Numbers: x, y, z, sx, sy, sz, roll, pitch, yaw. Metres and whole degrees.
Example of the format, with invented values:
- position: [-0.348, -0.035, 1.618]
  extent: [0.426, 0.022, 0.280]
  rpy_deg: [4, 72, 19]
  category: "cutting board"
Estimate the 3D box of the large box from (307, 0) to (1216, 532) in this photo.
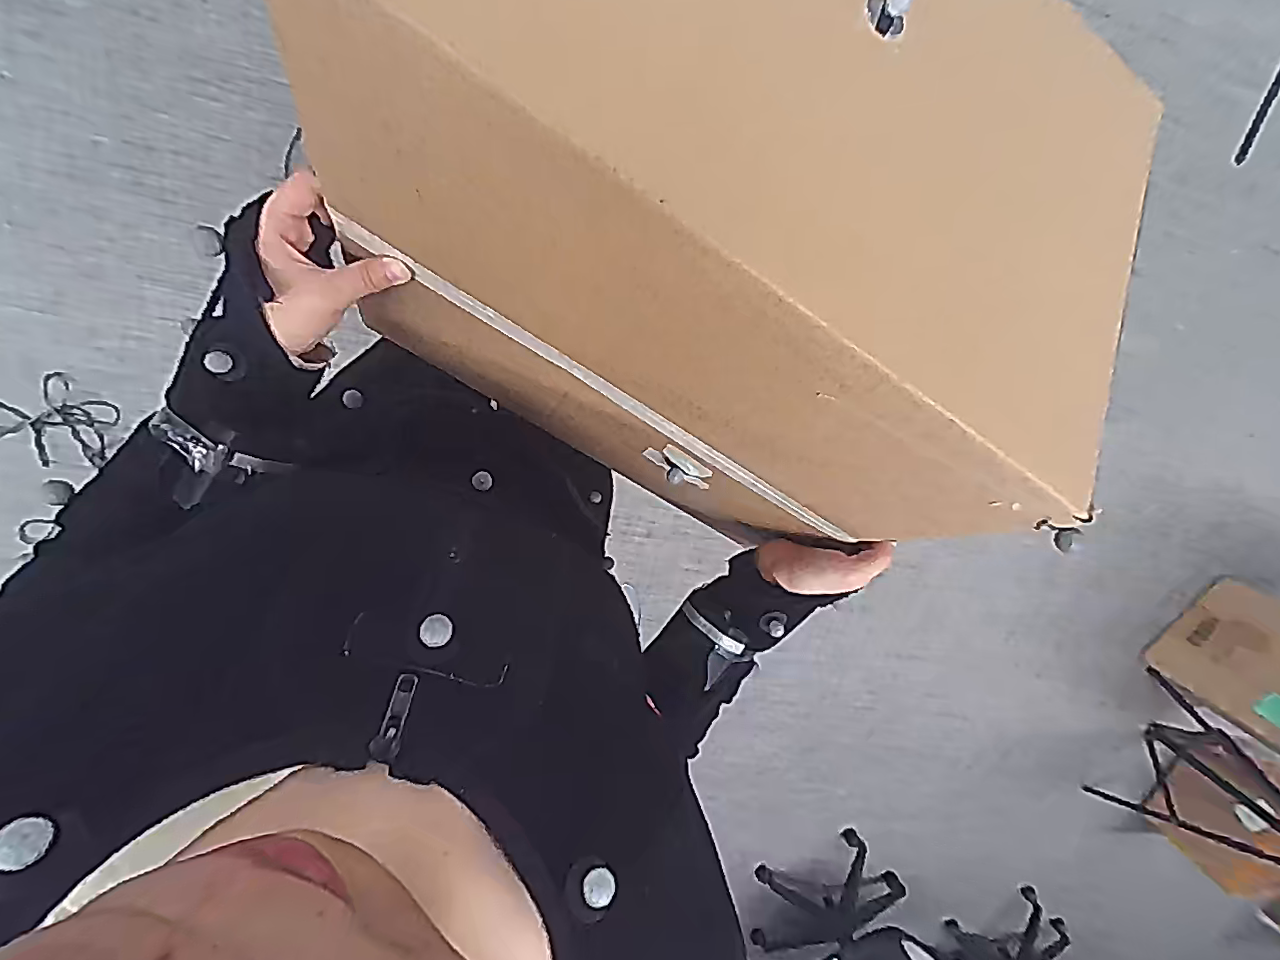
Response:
- position: [0.072, -0.199, 0.374]
  extent: [0.408, 0.320, 0.320]
  rpy_deg: [29, 73, -14]
  category: "large box"
